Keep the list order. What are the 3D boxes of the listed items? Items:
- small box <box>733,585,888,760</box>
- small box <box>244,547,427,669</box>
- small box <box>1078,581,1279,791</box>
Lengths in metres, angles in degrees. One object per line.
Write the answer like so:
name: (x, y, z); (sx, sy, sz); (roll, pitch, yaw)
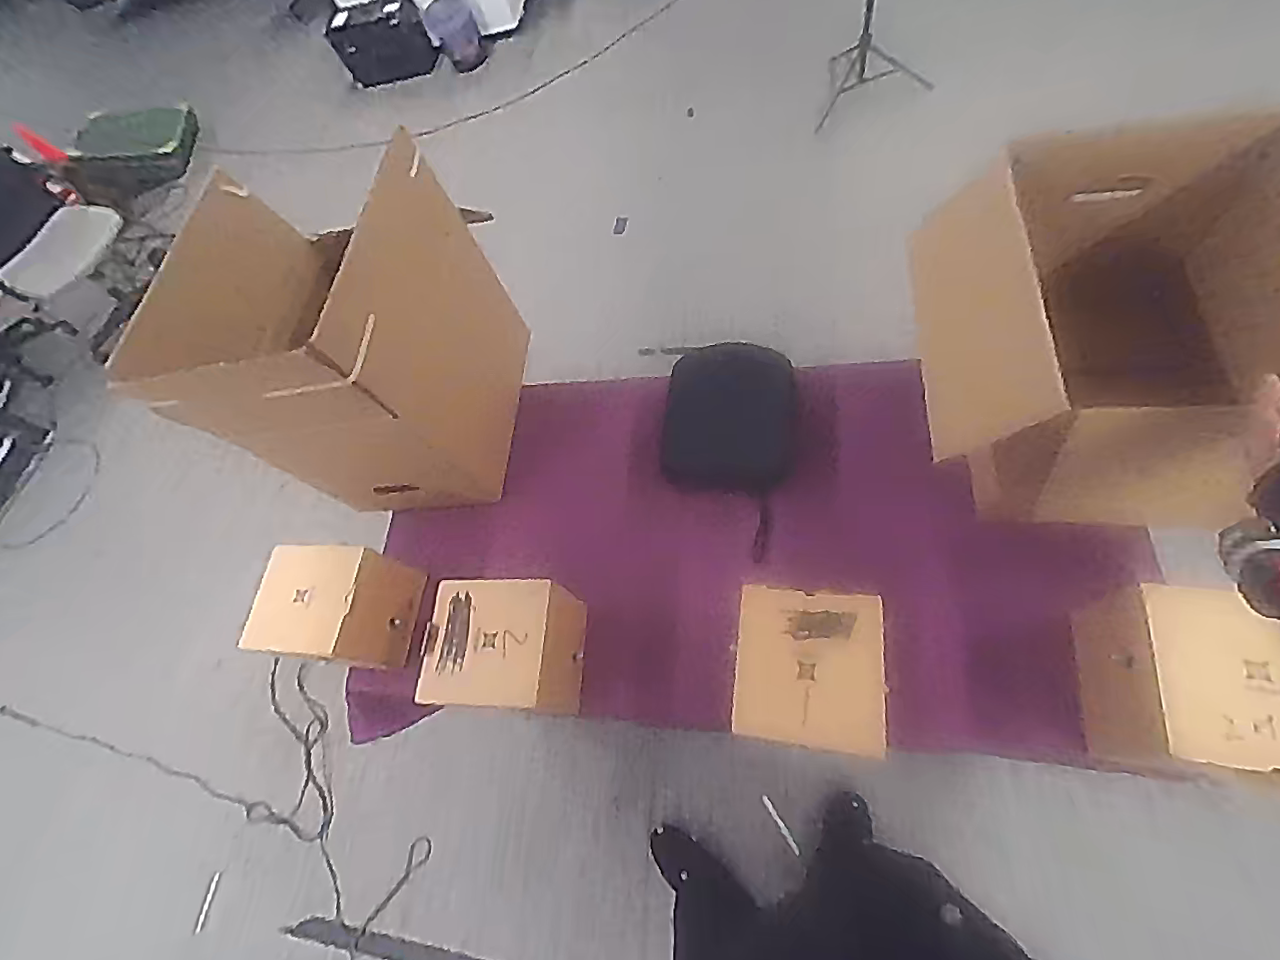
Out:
small box: (0.215, 0.247, 0.695); (0.168, 0.176, 0.179); (2, 66, 17)
small box: (-0.492, 0.217, 0.899); (0.179, 0.176, 0.168); (-1, 65, 13)
small box: (0.618, 0.227, 0.594); (0.168, 0.176, 0.179); (5, 66, 18)
